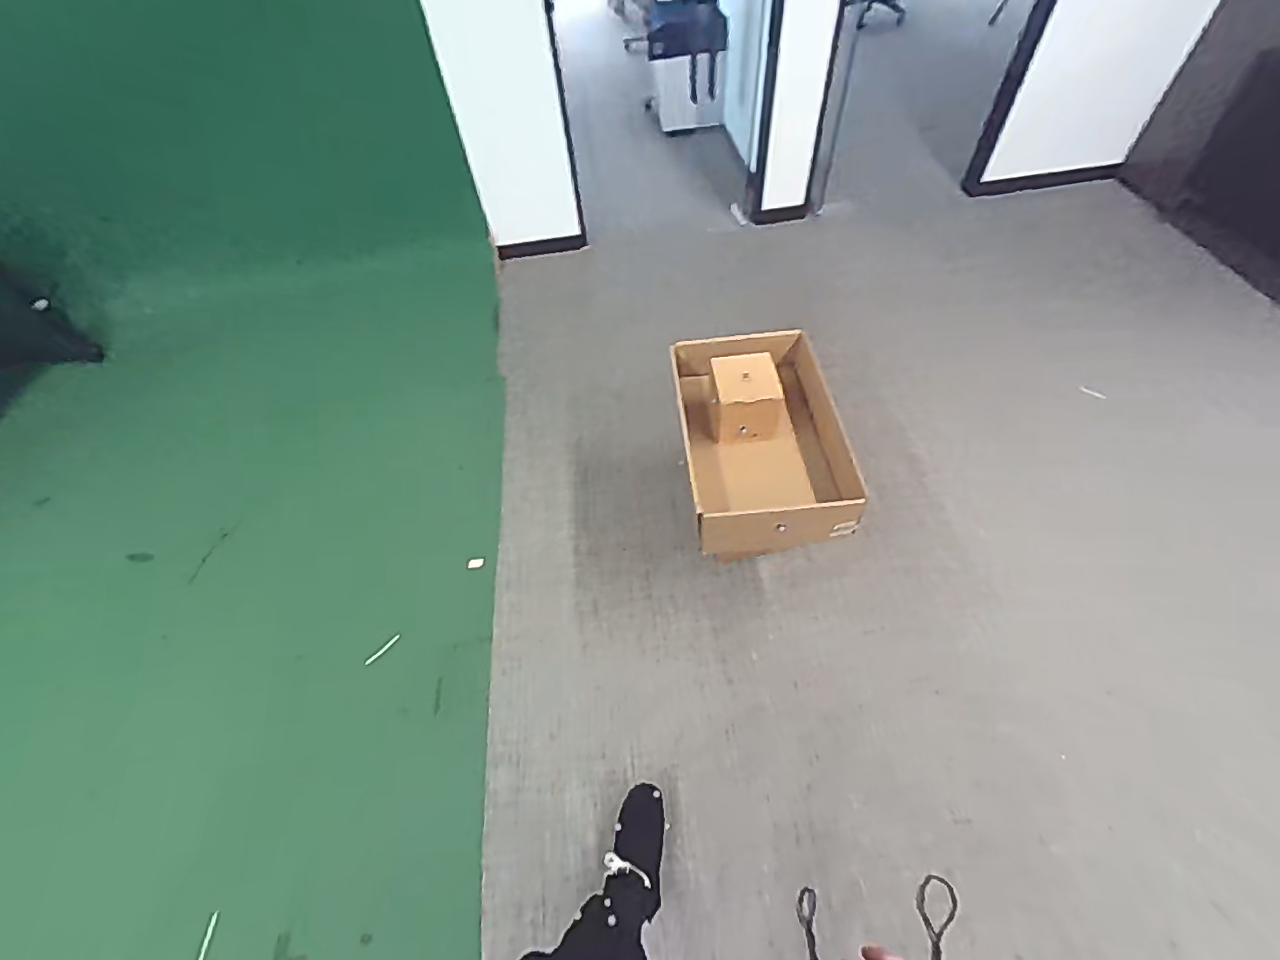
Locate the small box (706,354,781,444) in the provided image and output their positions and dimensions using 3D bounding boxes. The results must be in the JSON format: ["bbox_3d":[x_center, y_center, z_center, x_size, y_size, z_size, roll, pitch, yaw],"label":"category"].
[{"bbox_3d":[0.280,-0.223,1.505,0.168,0.176,0.179,-6,54,0],"label":"small box"}]
